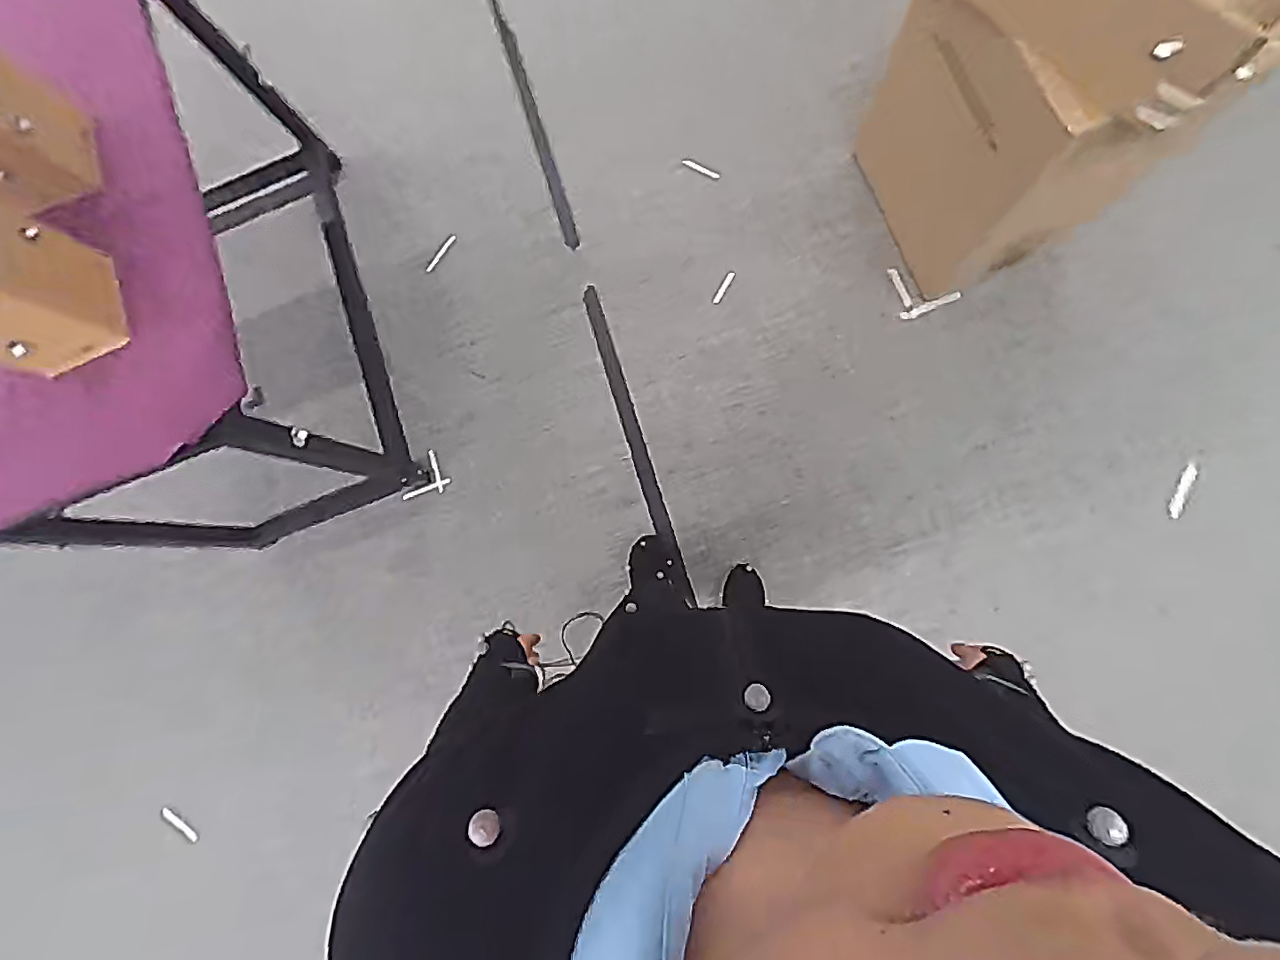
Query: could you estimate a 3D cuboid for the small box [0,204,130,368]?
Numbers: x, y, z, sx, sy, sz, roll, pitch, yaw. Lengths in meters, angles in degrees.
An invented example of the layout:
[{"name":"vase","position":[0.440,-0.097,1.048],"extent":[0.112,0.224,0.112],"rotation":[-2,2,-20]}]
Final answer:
[{"name":"small box","position":[-0.999,-0.302,0.889],"extent":[0.168,0.176,0.179],"rotation":[-22,80,3]}]
